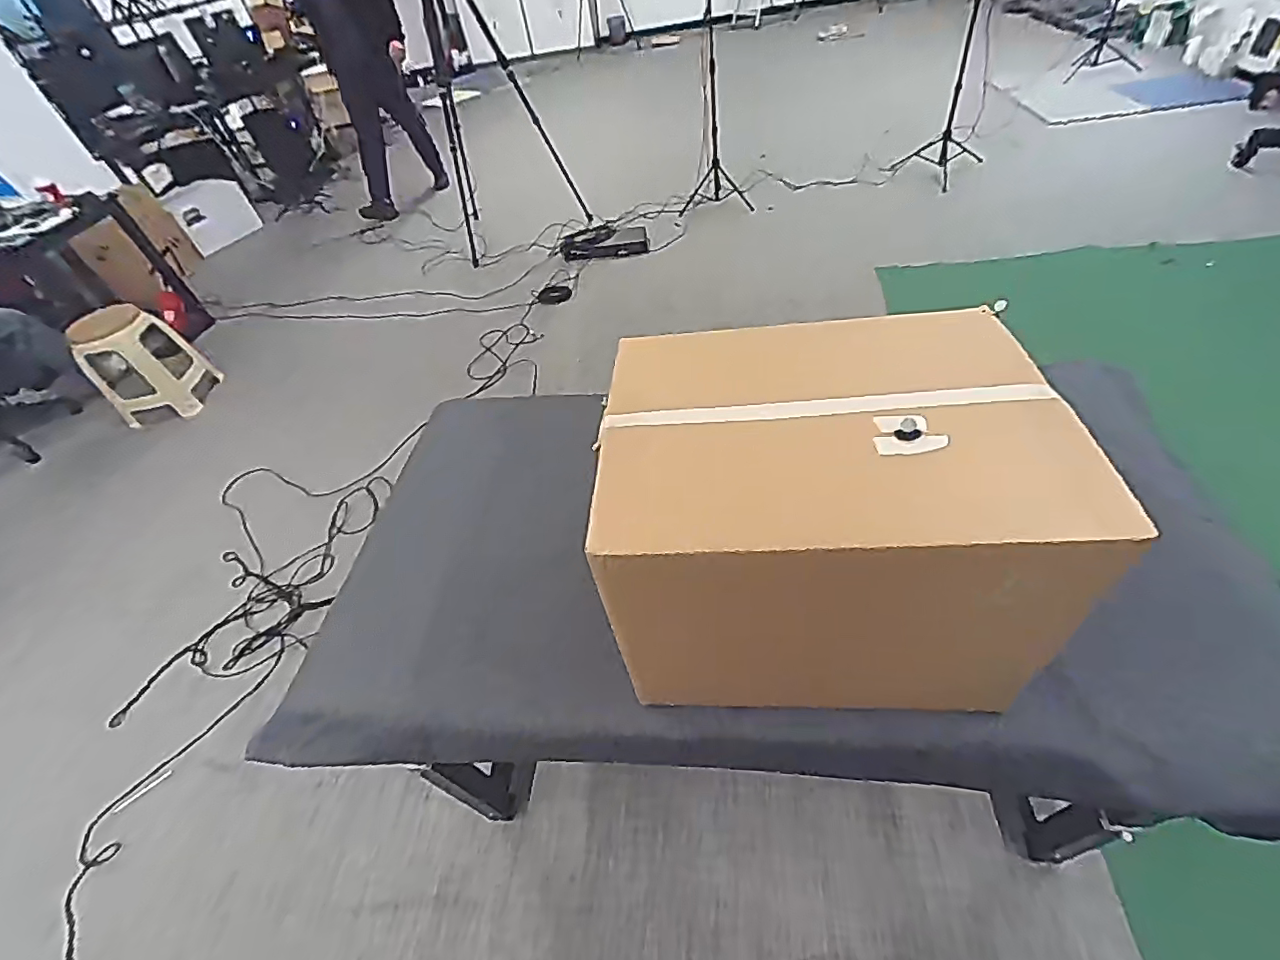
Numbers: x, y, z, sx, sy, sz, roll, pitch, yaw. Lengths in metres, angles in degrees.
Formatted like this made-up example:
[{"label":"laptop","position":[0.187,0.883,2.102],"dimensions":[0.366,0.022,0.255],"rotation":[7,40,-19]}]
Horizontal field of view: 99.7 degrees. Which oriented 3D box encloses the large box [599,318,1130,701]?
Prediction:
[{"label":"large box","position":[0.185,0.043,0.621],"dimensions":[0.408,0.320,0.320],"rotation":[-2,47,7]}]
